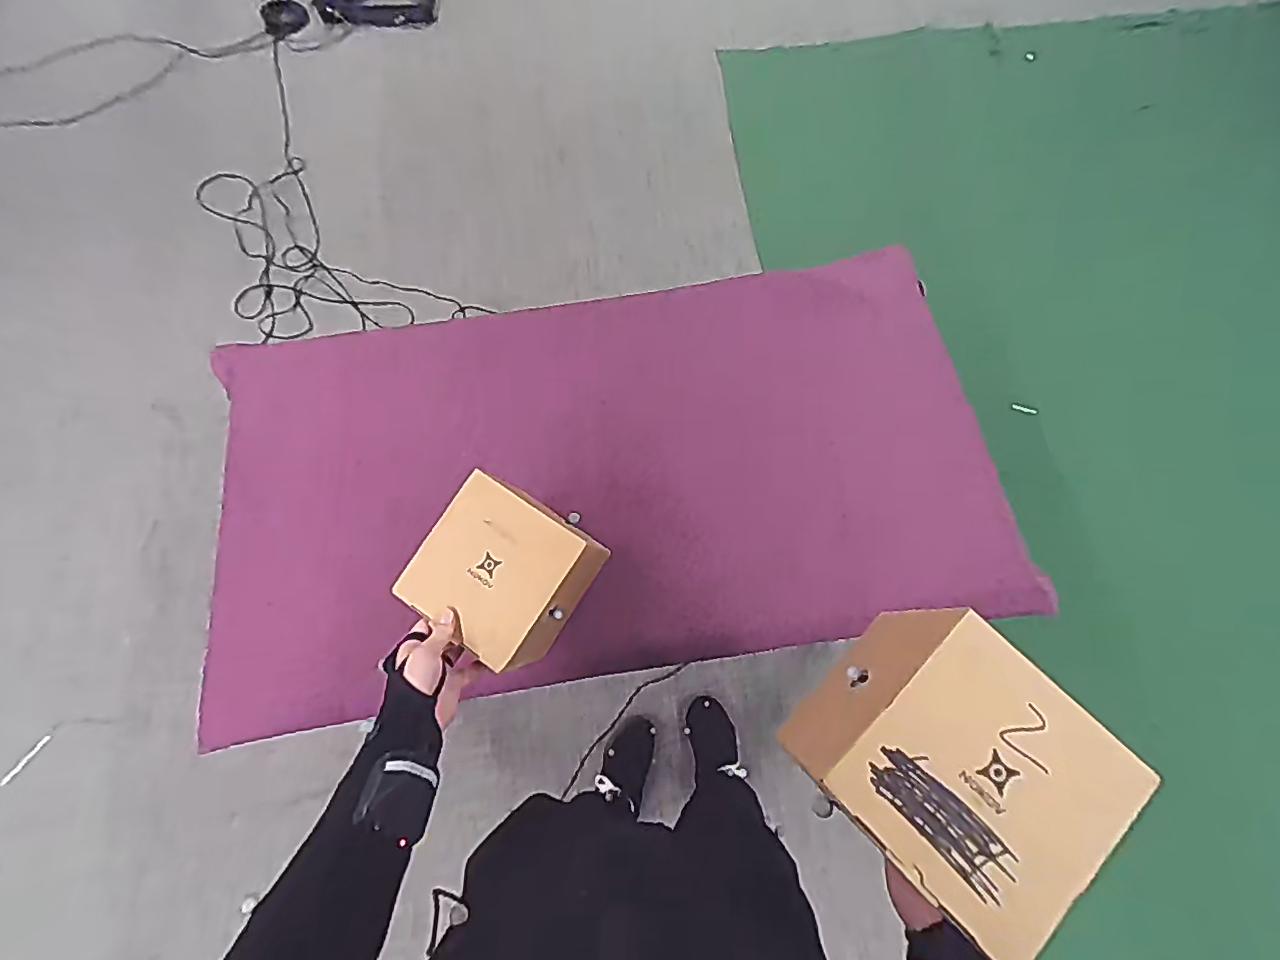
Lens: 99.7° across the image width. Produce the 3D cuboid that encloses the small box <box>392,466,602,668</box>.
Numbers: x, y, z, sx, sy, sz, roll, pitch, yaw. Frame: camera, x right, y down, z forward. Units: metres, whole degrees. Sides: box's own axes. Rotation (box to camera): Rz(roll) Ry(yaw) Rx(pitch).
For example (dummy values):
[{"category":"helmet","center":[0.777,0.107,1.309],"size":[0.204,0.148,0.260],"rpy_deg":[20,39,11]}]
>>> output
[{"category":"small box","center":[-0.166,0.110,0.696],"size":[0.168,0.176,0.179],"rpy_deg":[34,85,11]}]
